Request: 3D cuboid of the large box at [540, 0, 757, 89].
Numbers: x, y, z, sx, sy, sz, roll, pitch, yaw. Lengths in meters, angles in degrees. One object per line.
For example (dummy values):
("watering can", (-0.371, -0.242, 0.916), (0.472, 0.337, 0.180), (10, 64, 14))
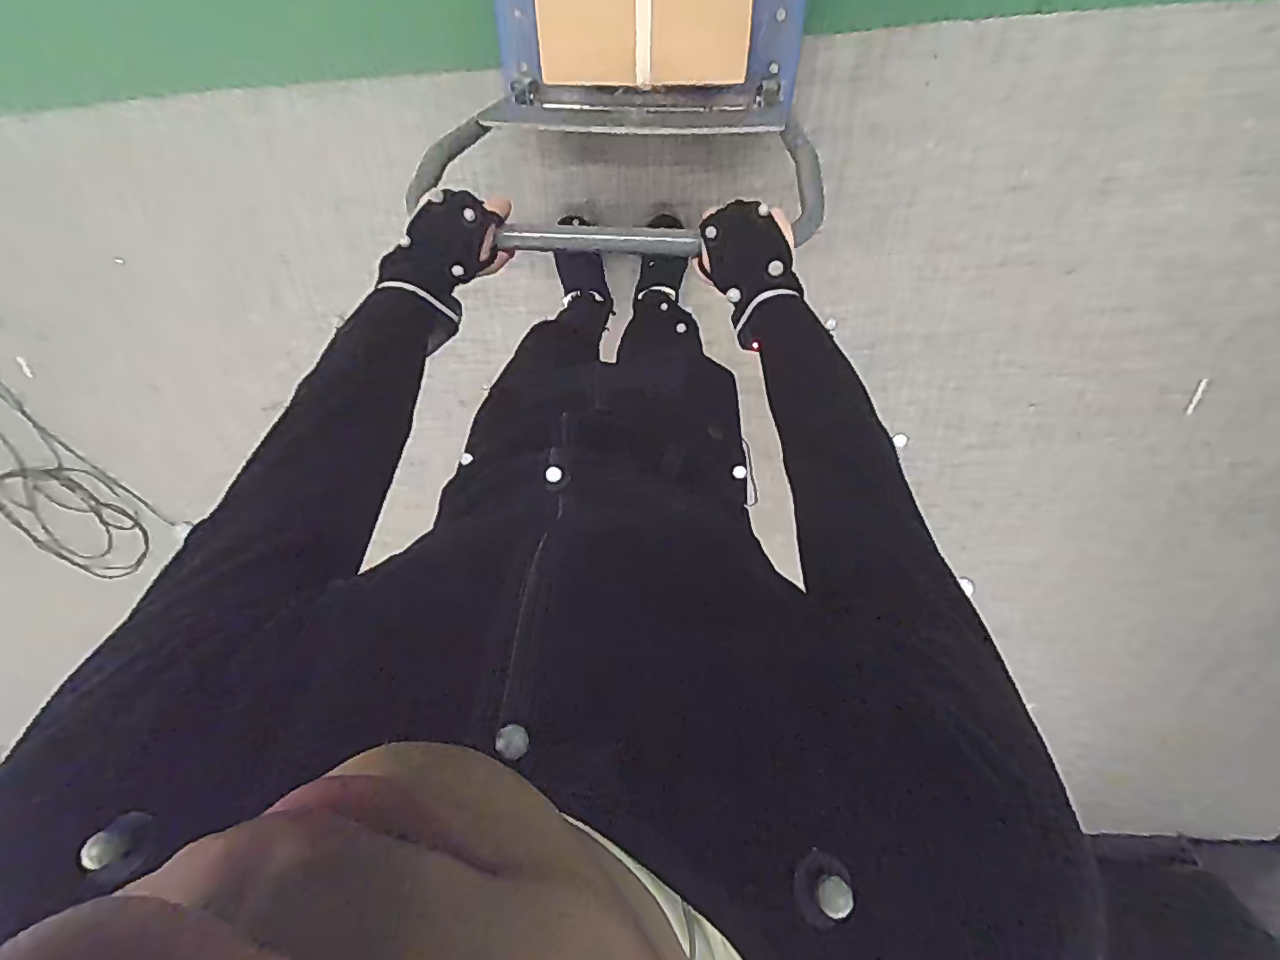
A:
("large box", (0.023, -0.852, 0.823), (0.320, 0.320, 0.408), (3, 129, 4))
